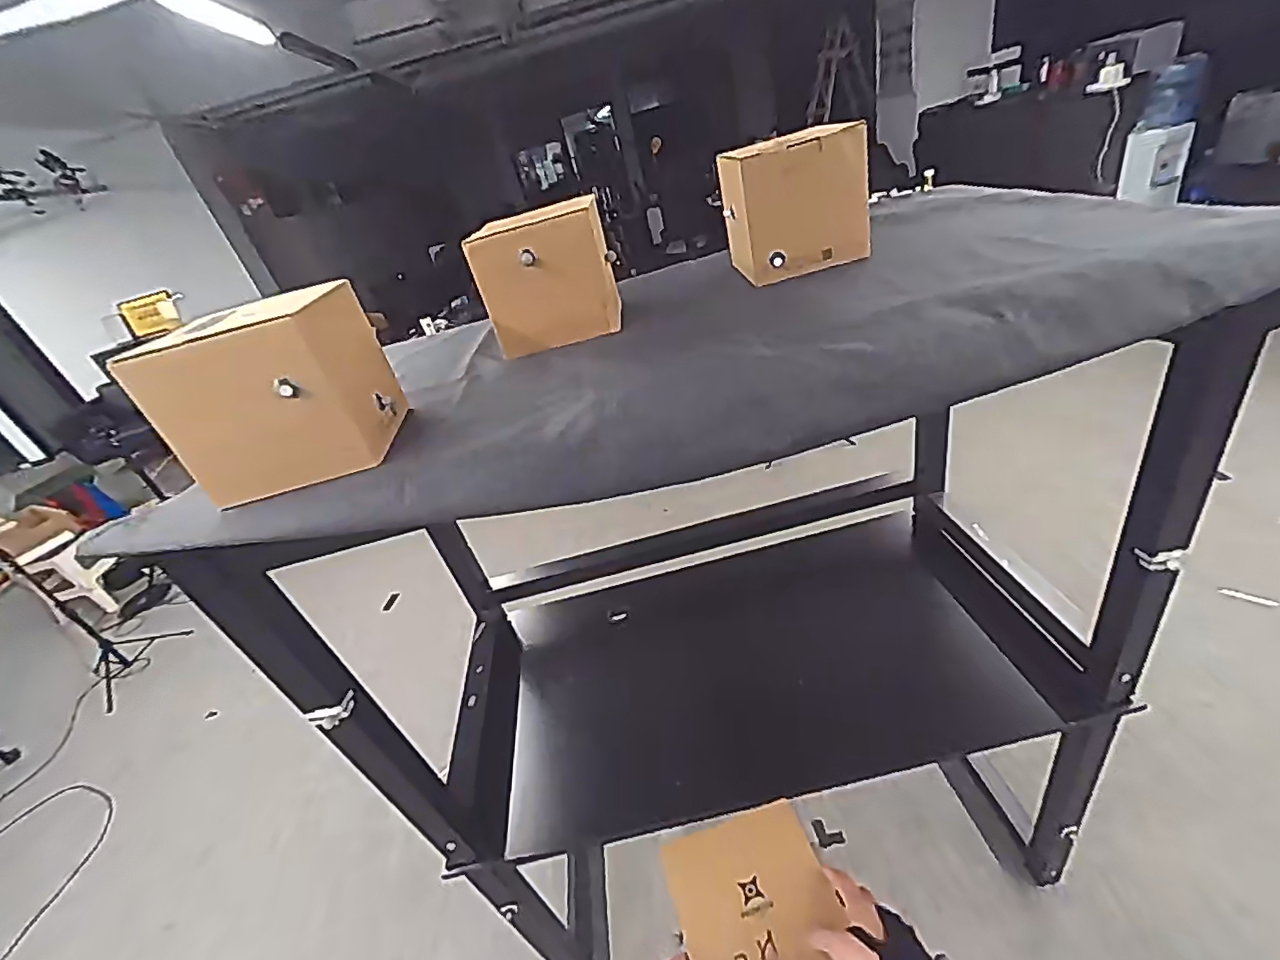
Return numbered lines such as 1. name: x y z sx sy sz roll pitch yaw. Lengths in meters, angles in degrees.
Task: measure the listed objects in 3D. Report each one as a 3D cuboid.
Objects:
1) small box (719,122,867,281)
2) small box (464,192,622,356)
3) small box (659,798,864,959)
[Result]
1. small box: 0.224 -0.408 0.800 0.168 0.176 0.179 -13 31 5
2. small box: -0.128 -0.304 0.800 0.179 0.176 0.168 -12 32 7
3. small box: 0.132 0.512 0.608 0.168 0.176 0.179 -17 26 -7
